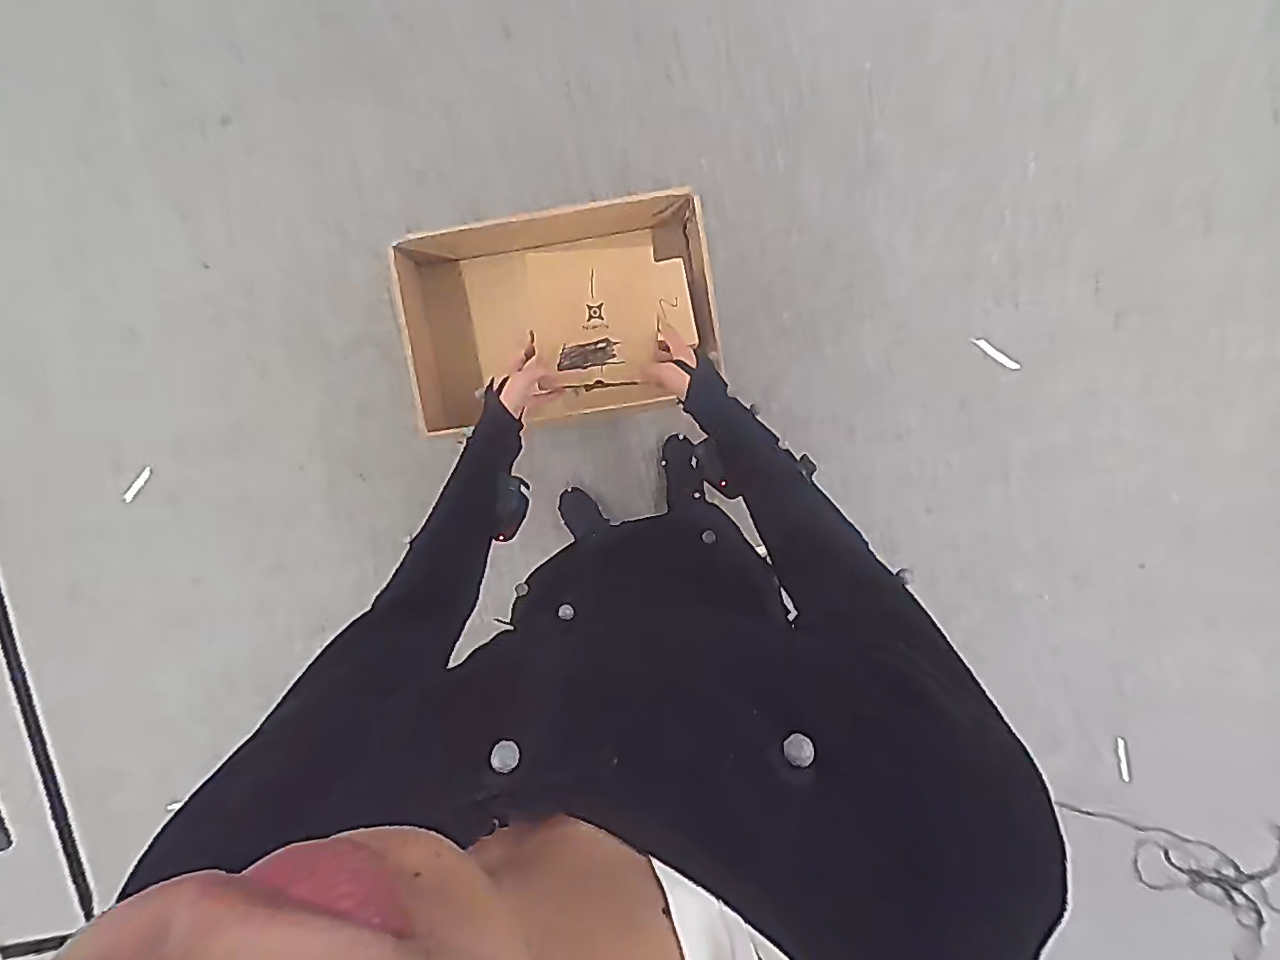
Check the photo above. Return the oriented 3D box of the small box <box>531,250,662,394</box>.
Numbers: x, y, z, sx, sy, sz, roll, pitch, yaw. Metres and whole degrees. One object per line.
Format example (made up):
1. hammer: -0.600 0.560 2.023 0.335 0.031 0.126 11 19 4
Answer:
1. small box: -0.053 -0.219 0.786 0.168 0.176 0.179 -4 99 1
